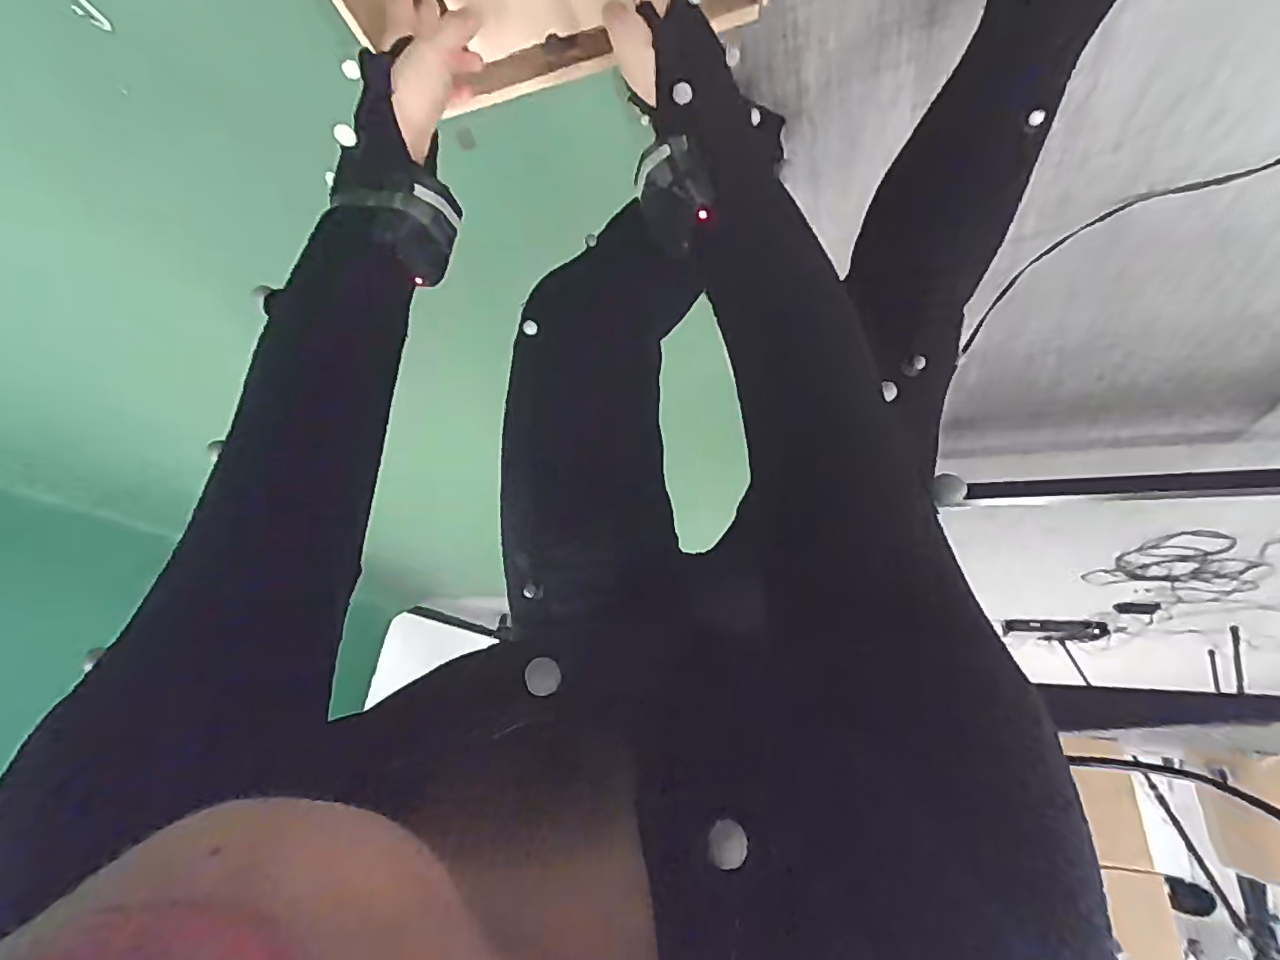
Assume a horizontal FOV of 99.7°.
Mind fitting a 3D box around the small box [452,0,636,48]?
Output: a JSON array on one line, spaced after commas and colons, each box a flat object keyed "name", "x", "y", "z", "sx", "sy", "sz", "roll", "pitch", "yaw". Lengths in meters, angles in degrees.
[{"name": "small box", "x": -0.095, "y": -0.521, "z": 0.449, "sx": 0.168, "sy": 0.176, "sz": 0.179, "roll": -4, "pitch": 155, "yaw": 16}]

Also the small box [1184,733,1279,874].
[{"name": "small box", "x": 0.944, "y": 0.460, "z": 0.767, "sx": 0.179, "sy": 0.176, "sz": 0.168, "roll": -4, "pitch": 155, "yaw": 19}]
